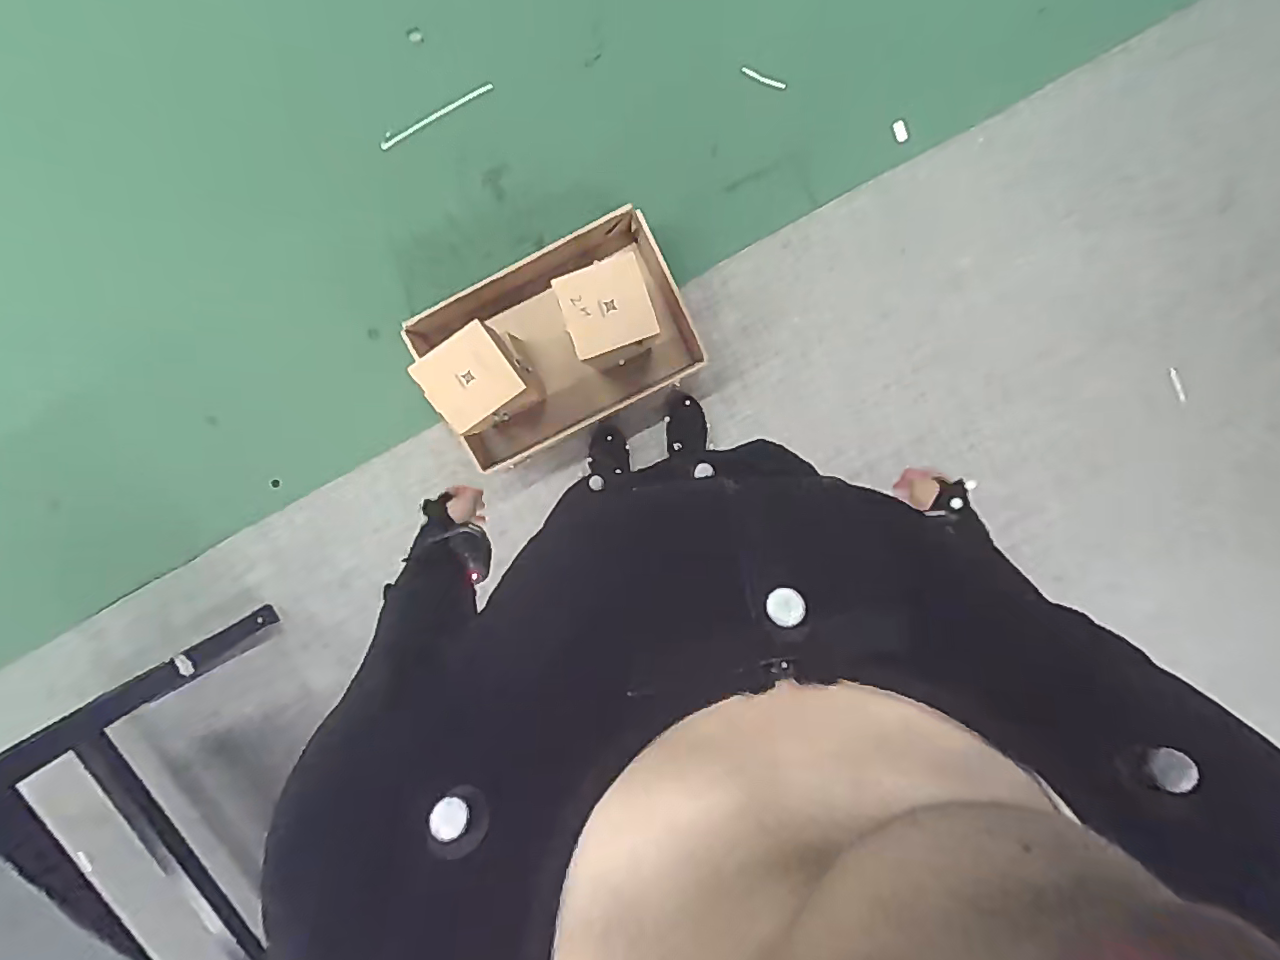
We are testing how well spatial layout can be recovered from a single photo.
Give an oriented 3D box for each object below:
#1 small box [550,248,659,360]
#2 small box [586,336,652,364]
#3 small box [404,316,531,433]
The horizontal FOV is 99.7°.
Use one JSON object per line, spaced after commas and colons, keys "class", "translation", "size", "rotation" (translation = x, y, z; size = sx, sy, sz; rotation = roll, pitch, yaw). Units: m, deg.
{"class": "small box", "translation": [-0.072, -0.357, 1.128], "size": [0.179, 0.176, 0.168], "rotation": [-20, 99, 1]}
{"class": "small box", "translation": [-0.081, -0.388, 1.290], "size": [0.168, 0.176, 0.179], "rotation": [-20, 101, 1]}
{"class": "small box", "translation": [-0.350, -0.215, 1.136], "size": [0.179, 0.176, 0.168], "rotation": [-35, 99, 1]}
